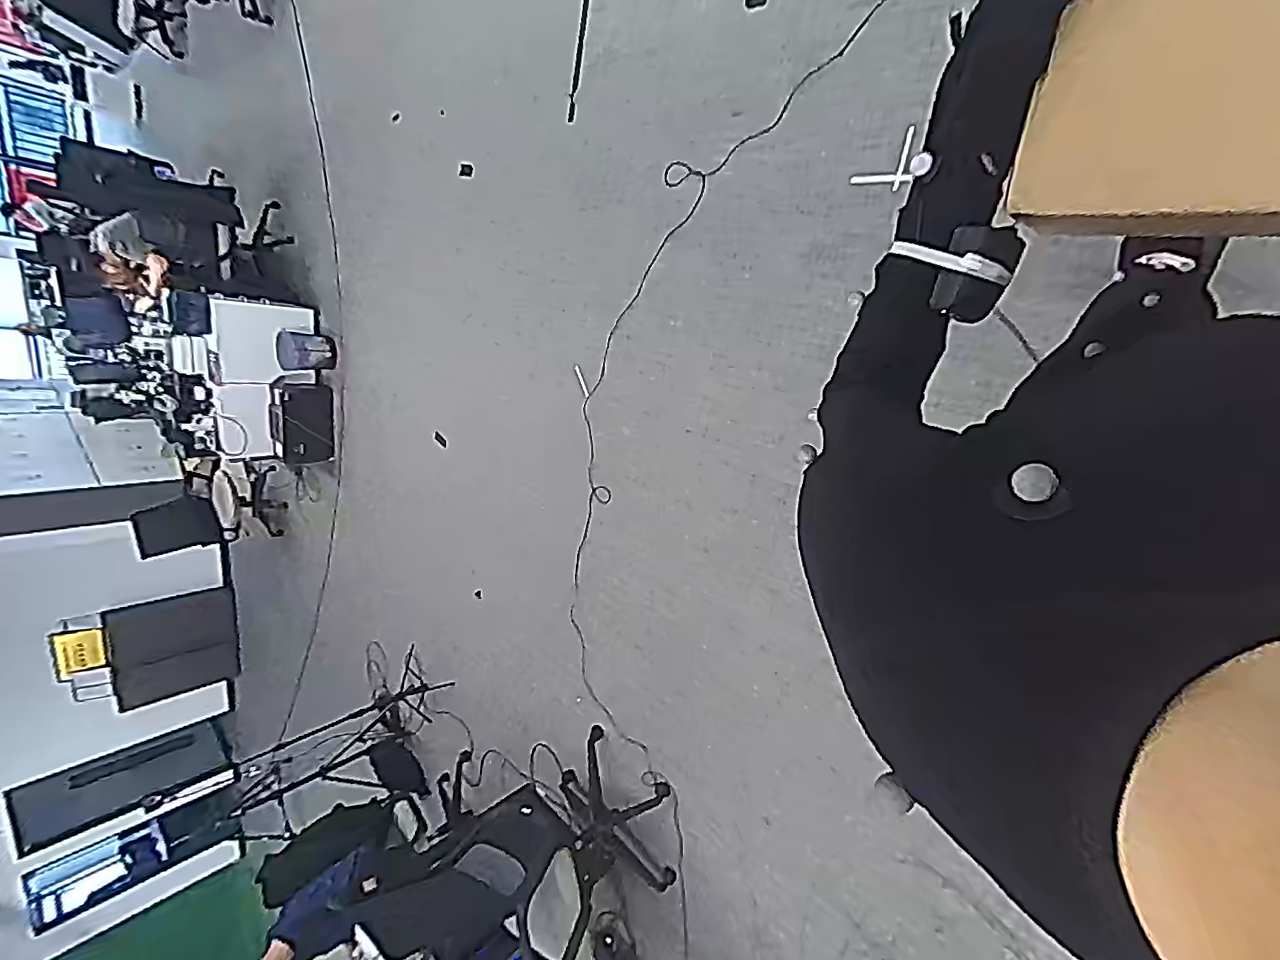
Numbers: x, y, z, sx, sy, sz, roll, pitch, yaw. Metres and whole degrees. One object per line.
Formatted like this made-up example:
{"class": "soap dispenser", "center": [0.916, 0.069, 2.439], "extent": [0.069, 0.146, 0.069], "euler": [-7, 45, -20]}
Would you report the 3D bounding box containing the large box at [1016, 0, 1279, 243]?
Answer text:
{"class": "large box", "center": [0.529, -0.335, 0.355], "extent": [0.408, 0.320, 0.320], "euler": [16, 117, 34]}
